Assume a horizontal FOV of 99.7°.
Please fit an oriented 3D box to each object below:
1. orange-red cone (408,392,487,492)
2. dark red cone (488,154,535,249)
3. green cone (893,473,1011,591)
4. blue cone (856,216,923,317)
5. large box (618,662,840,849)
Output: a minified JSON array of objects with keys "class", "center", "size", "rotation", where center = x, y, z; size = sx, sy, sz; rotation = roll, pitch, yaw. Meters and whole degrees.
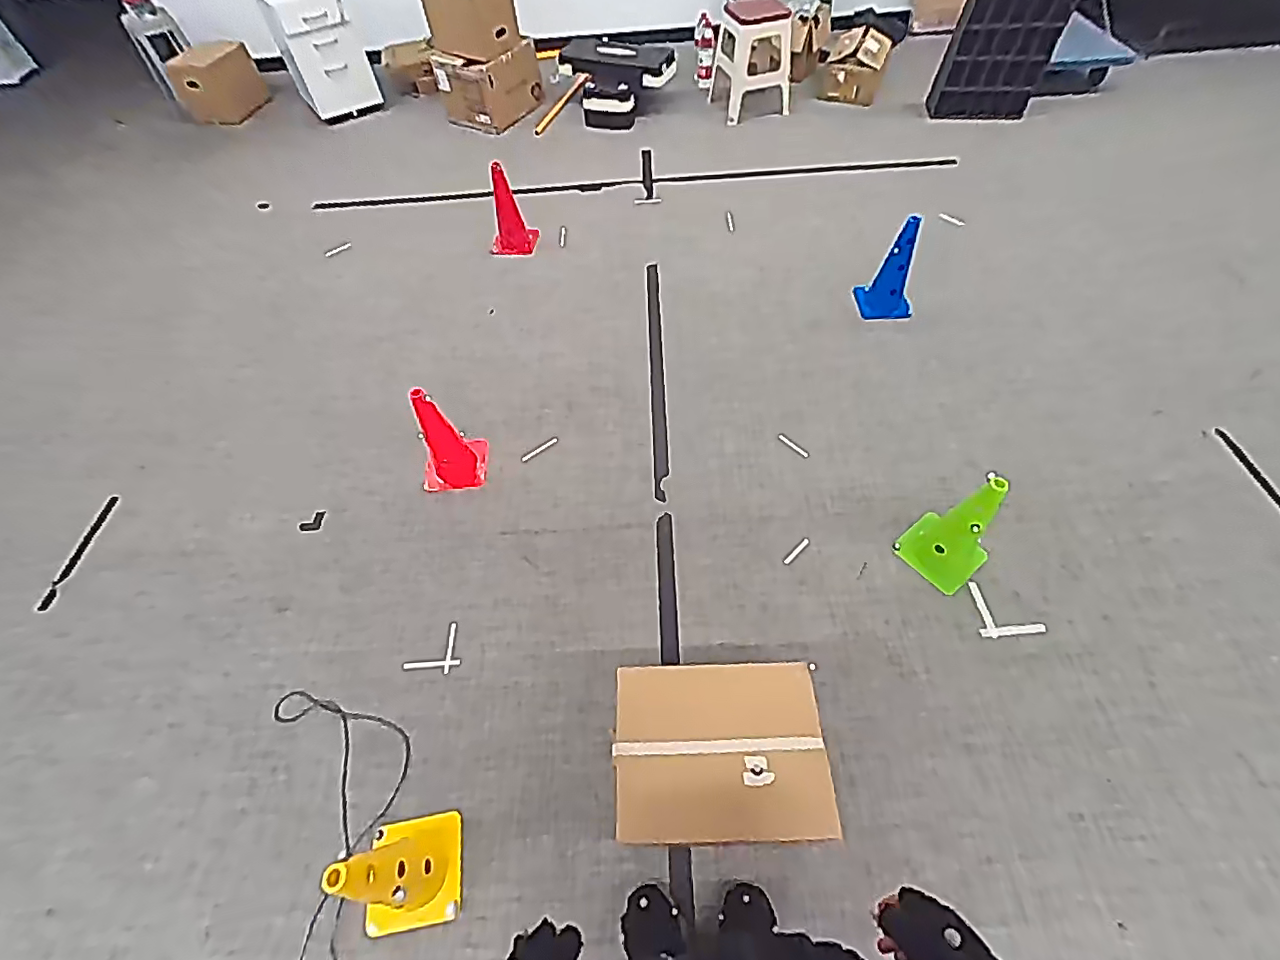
[{"class":"orange-red cone","center":[-0.632,-0.141,1.686],"size":[0.198,0.360,0.199],"rotation":[-6,57,1]},{"class":"dark red cone","center":[-0.605,-1.231,2.395],"size":[0.201,0.394,0.202],"rotation":[2,56,4]},{"class":"green cone","center":[0.863,0.105,1.424],"size":[0.202,0.368,0.200],"rotation":[-35,61,-20]},{"class":"blue cone","center":[0.980,-0.819,2.066],"size":[0.192,0.380,0.193],"rotation":[0,56,2]},{"class":"large box","center":[0.161,0.604,1.174],"size":[0.408,0.320,0.320],"rotation":[-2,55,1]}]
